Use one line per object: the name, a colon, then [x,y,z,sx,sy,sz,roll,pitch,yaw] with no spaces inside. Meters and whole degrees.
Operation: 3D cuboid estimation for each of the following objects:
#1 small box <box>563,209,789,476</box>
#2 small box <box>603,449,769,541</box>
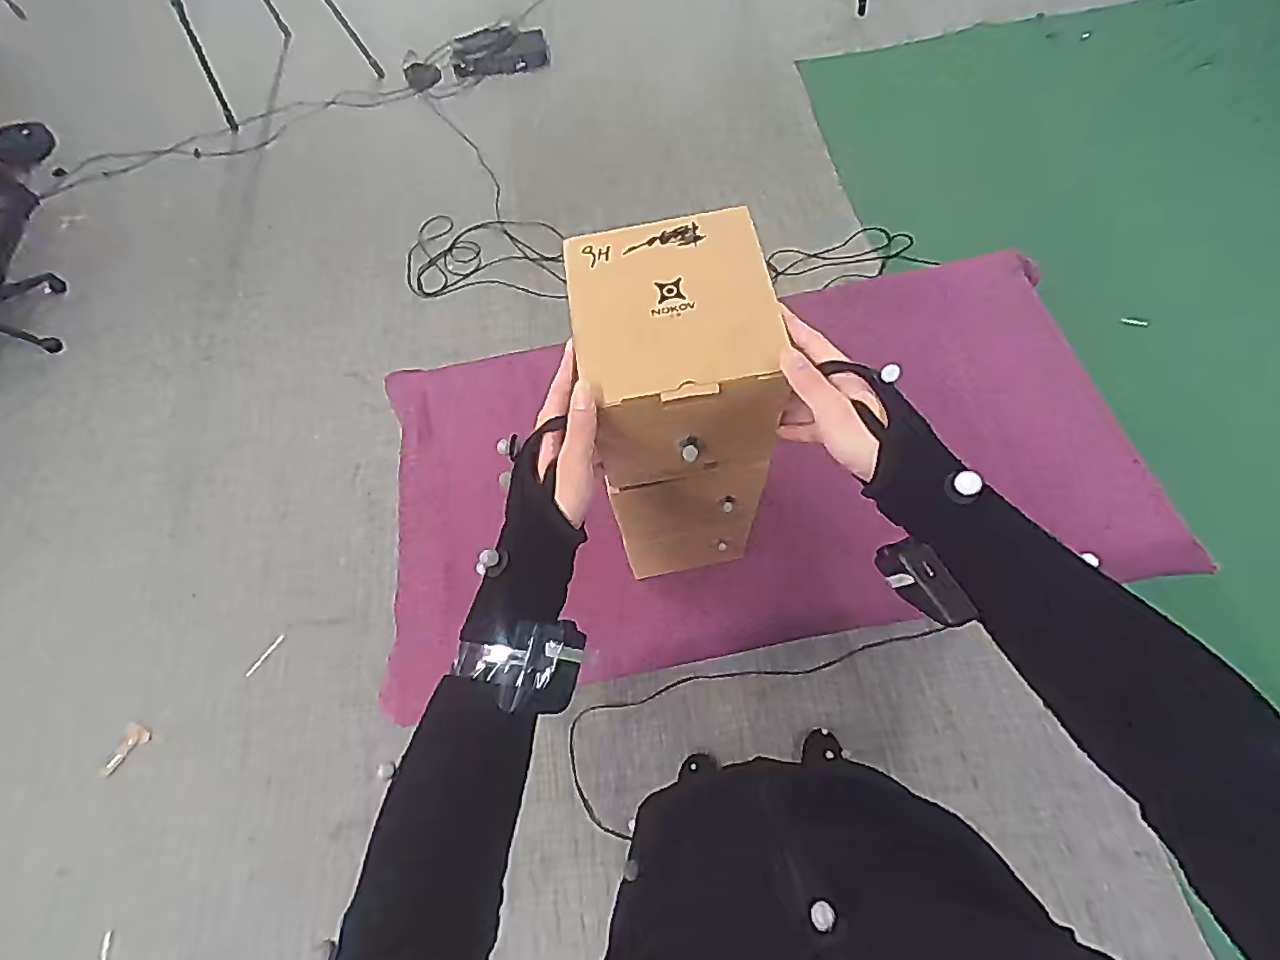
small box: [0.031,-0.114,0.513,0.168,0.176,0.179,-9,68,2]
small box: [0.046,-0.037,0.674,0.179,0.176,0.168,-11,64,1]
